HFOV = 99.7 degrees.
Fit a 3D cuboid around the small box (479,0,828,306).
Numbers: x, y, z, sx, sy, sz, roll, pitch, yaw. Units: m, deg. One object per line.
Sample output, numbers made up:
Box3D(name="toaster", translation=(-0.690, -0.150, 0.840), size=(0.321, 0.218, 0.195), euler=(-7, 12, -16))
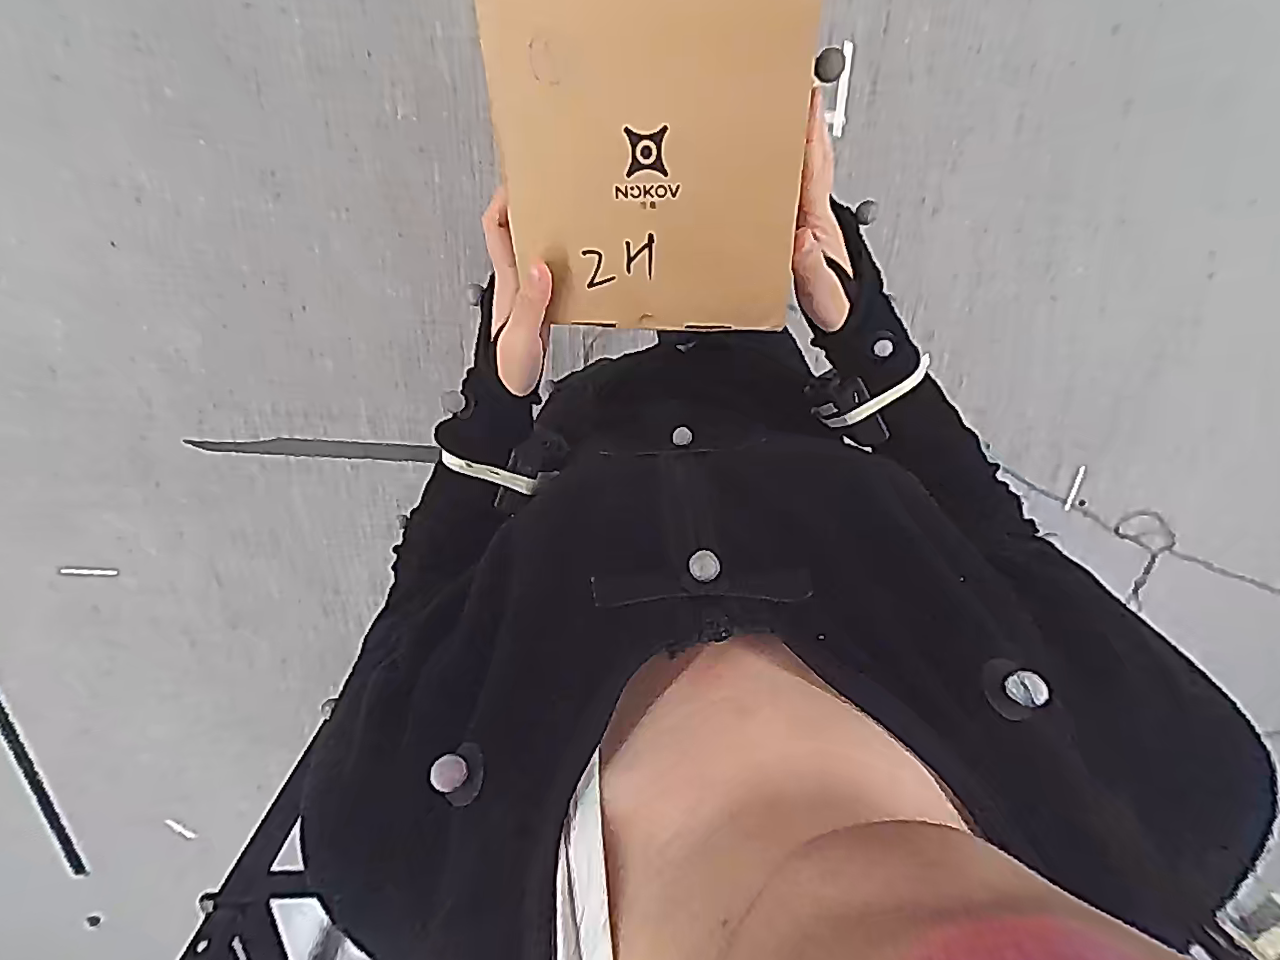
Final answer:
Box3D(name="small box", translation=(0.017, -0.223, 0.344), size=(0.168, 0.176, 0.179), euler=(4, 125, 10))
